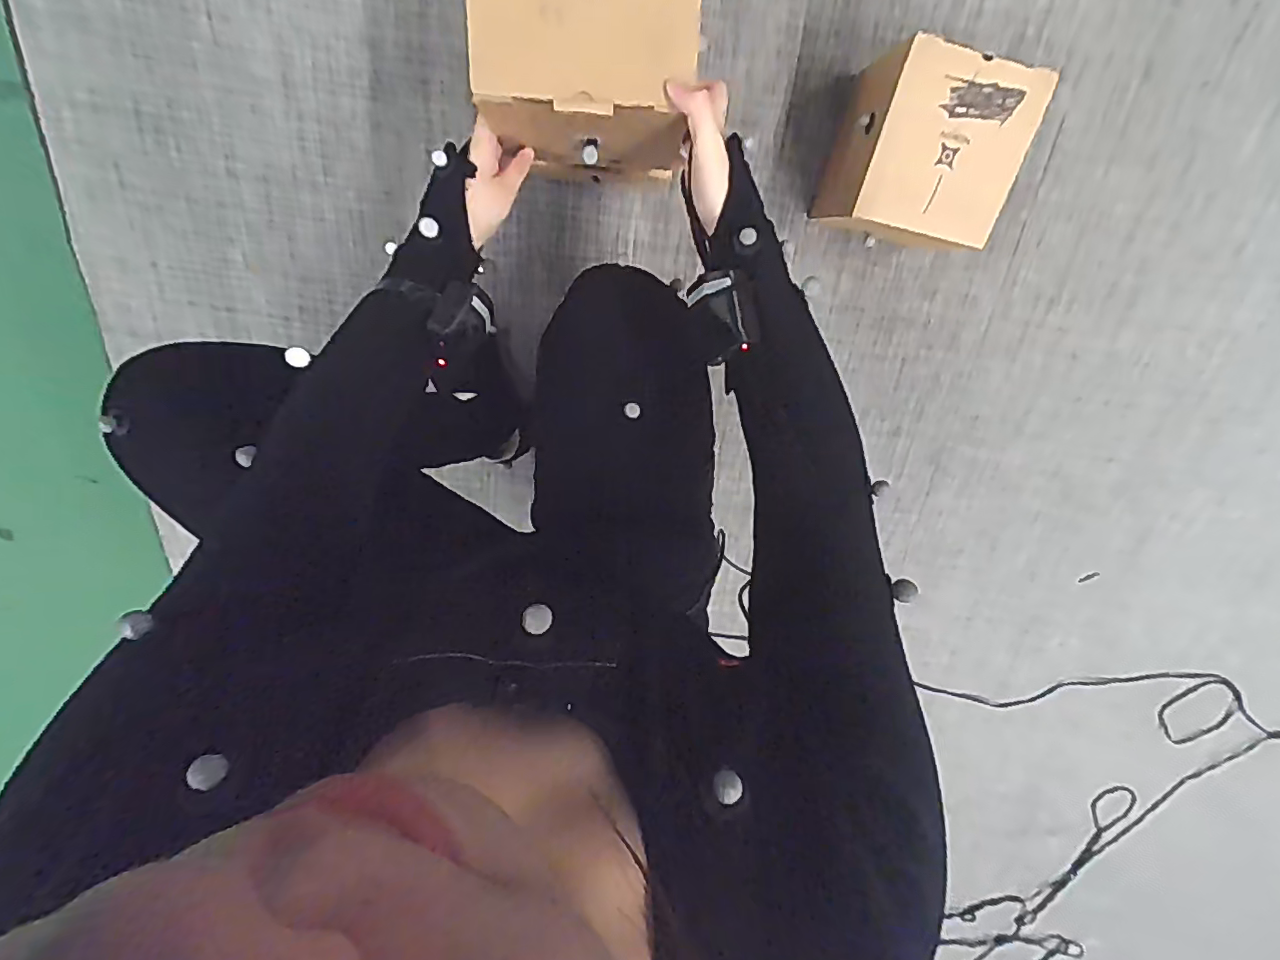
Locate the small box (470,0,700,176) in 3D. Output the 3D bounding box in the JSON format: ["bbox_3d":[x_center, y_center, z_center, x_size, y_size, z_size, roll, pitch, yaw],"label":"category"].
[{"bbox_3d":[-0.040,-0.373,0.456,0.168,0.176,0.179,2,107,-4],"label":"small box"}]

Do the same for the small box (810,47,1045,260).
[{"bbox_3d":[0.332,-0.386,0.671,0.168,0.176,0.179,11,114,-6],"label":"small box"}]
